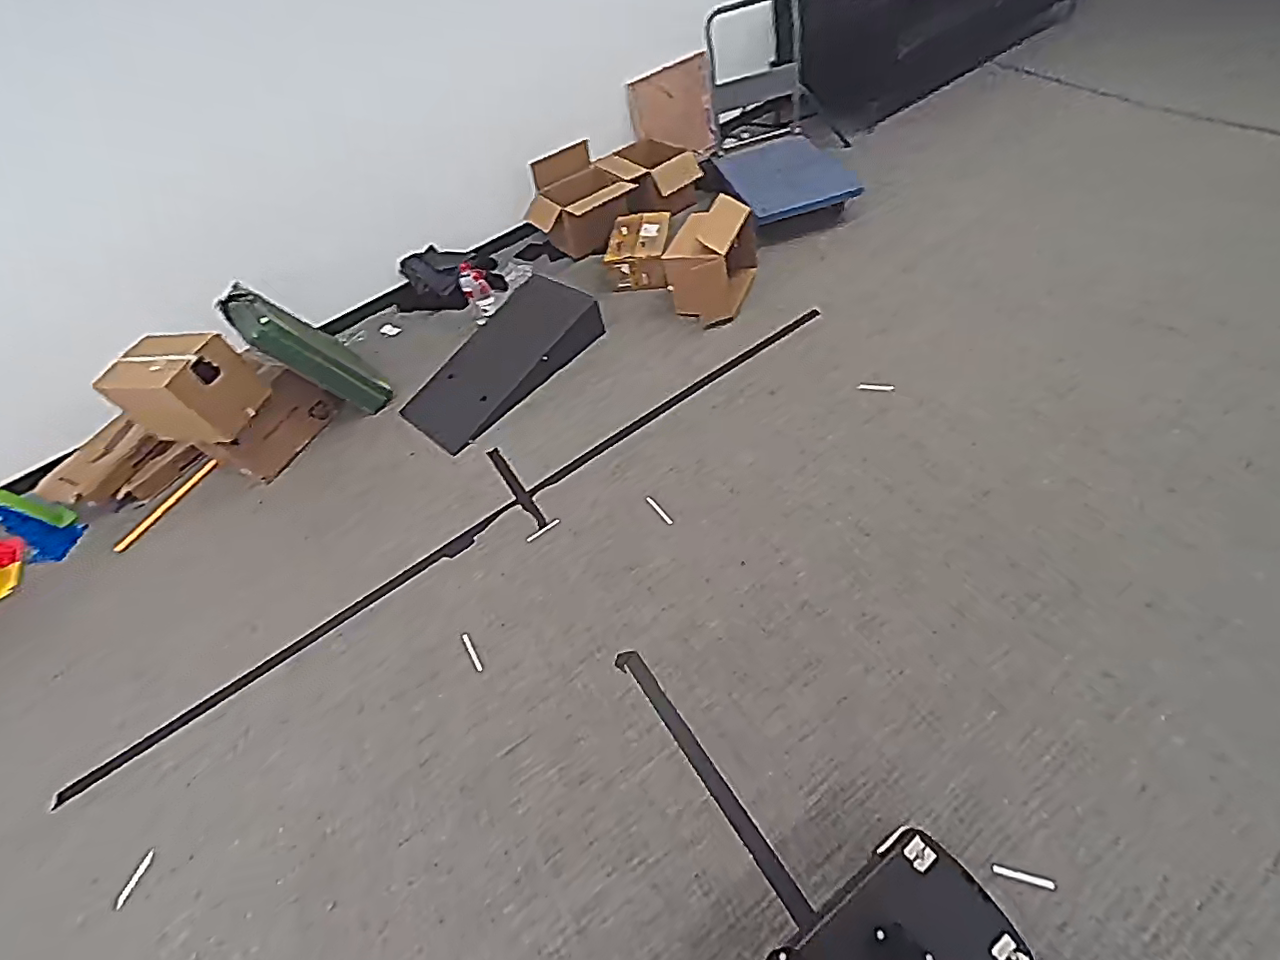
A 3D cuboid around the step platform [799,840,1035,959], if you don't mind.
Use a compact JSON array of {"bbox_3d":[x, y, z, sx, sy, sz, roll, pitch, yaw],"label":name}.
[{"bbox_3d":[0.434,1.054,1.051,0.684,0.204,0.286,-34,53,-15],"label":"step platform"}]
